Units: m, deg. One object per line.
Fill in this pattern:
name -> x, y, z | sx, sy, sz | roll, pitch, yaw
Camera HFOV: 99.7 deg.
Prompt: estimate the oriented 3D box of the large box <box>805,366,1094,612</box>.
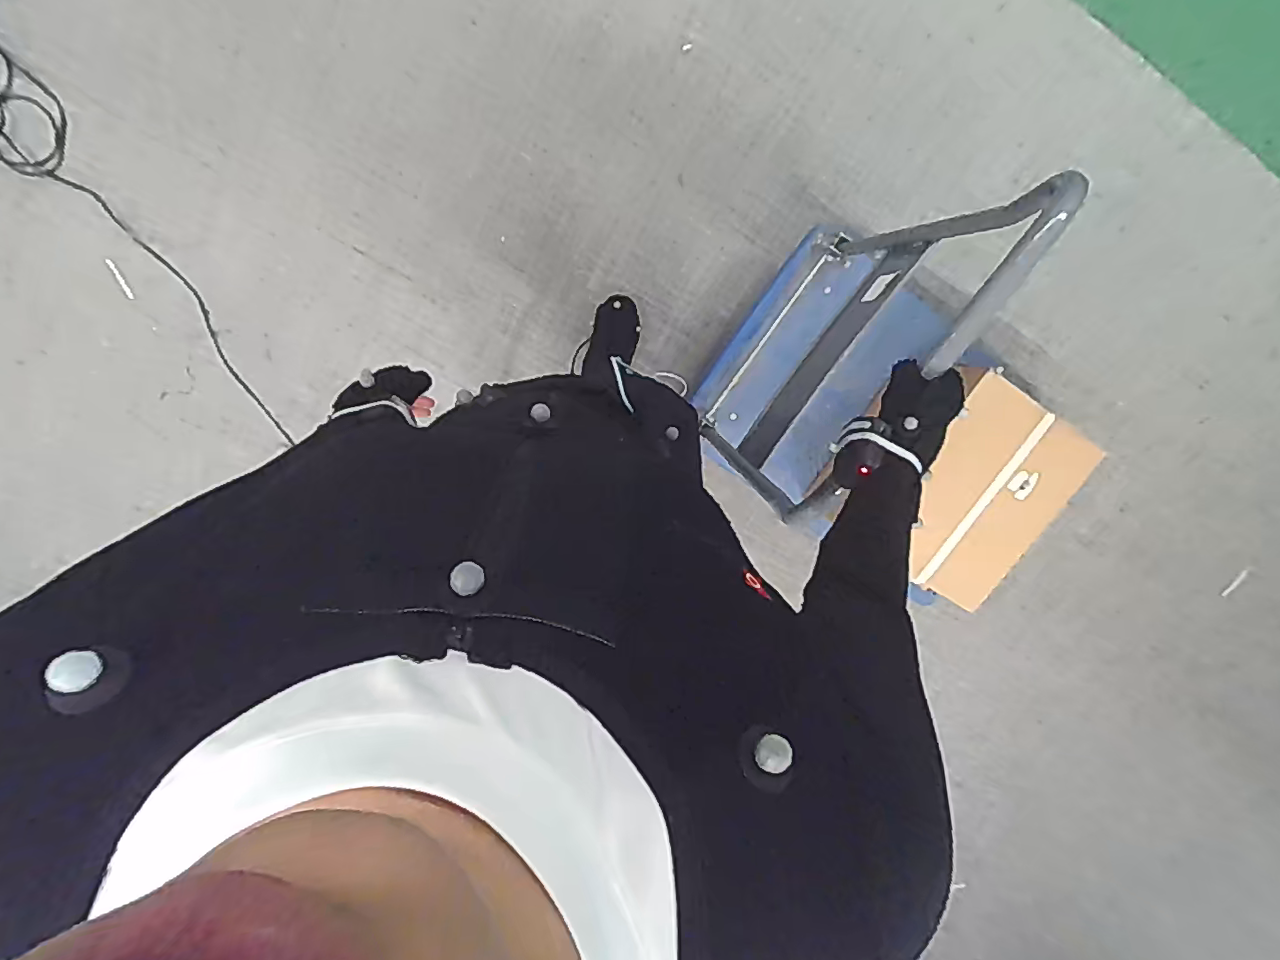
large box -> 0.645, 0.001, 1.201 | 0.320, 0.320, 0.408 | 31, 100, -12
